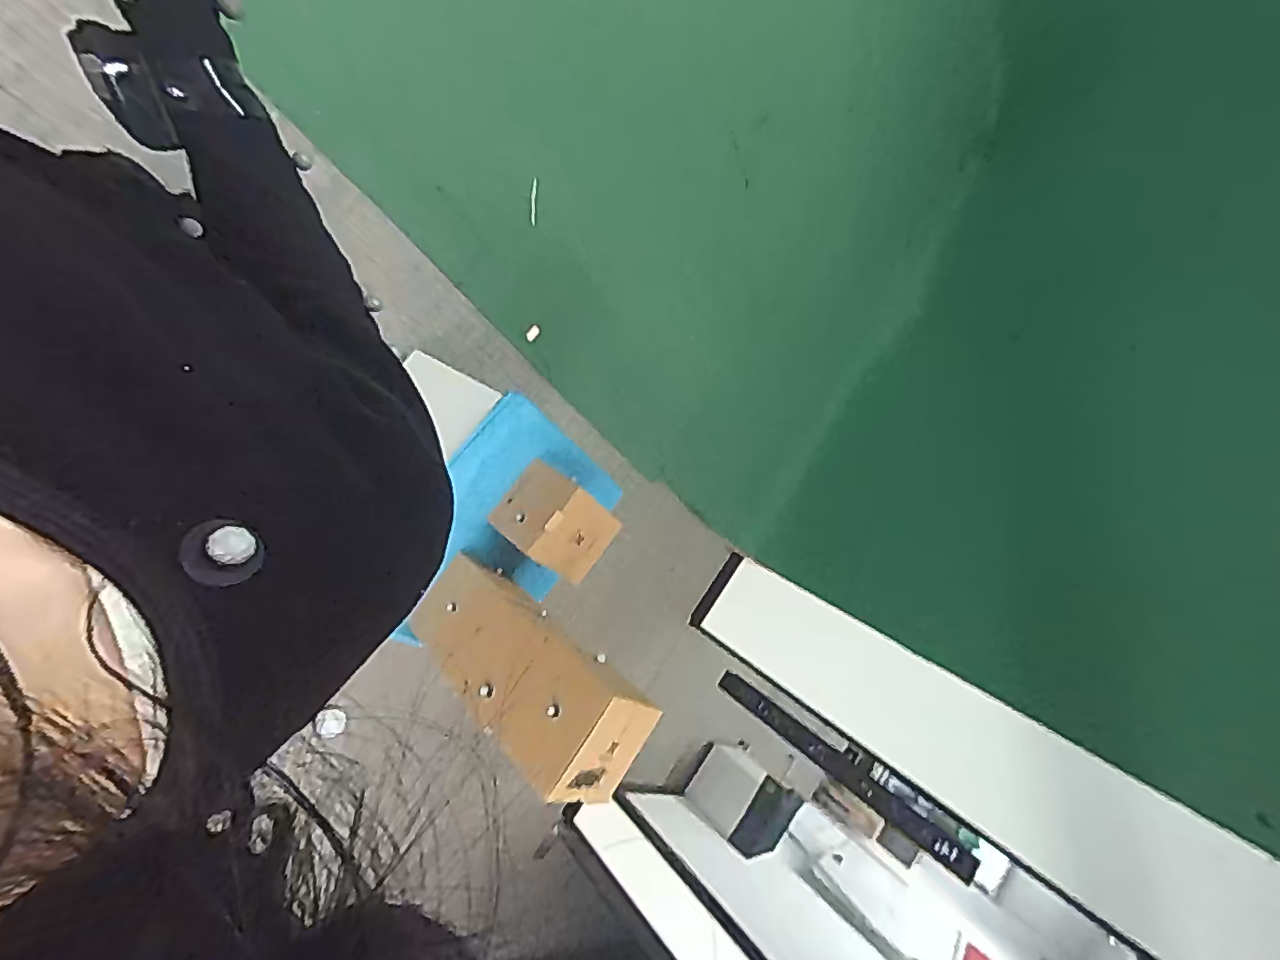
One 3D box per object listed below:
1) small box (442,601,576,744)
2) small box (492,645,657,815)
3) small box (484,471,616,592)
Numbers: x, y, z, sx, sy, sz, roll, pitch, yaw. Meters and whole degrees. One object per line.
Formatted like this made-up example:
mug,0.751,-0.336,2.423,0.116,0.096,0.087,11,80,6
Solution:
small box,-0.228,0.350,0.977,0.179,0.176,0.168,-56,140,-9
small box,-0.112,0.400,0.872,0.179,0.176,0.168,-55,140,-10
small box,-0.191,0.101,1.134,0.168,0.176,0.179,-52,139,-10
